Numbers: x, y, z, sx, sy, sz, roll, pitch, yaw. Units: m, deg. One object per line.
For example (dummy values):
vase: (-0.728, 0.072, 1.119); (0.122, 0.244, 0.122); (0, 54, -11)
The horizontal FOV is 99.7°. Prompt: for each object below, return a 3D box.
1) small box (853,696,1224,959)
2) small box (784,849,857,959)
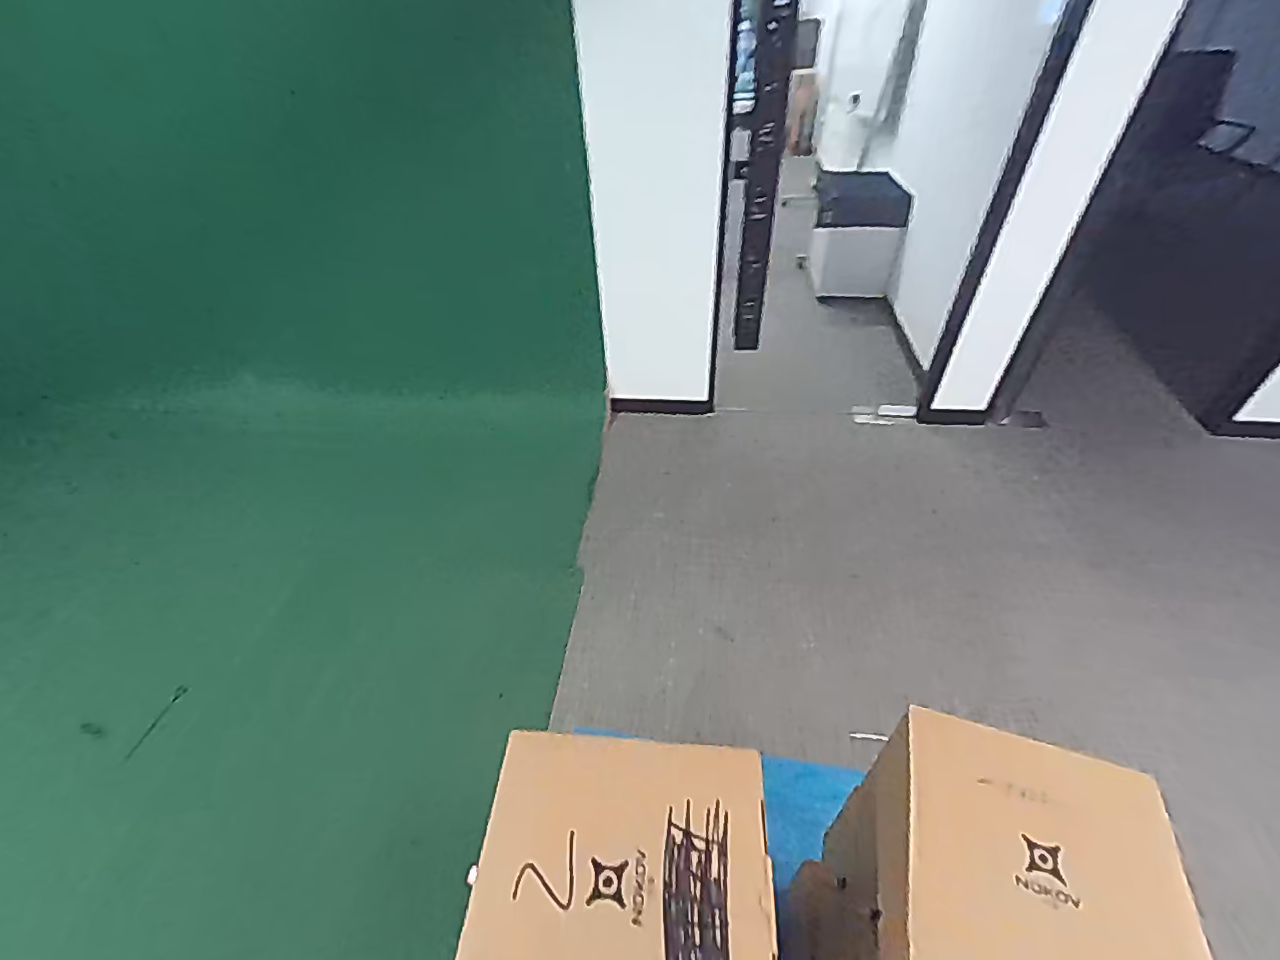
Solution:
small box: (0.263, 0.301, 0.396); (0.168, 0.176, 0.179); (13, 43, 16)
small box: (0.257, 0.551, 0.606); (0.168, 0.176, 0.179); (6, 44, 8)
